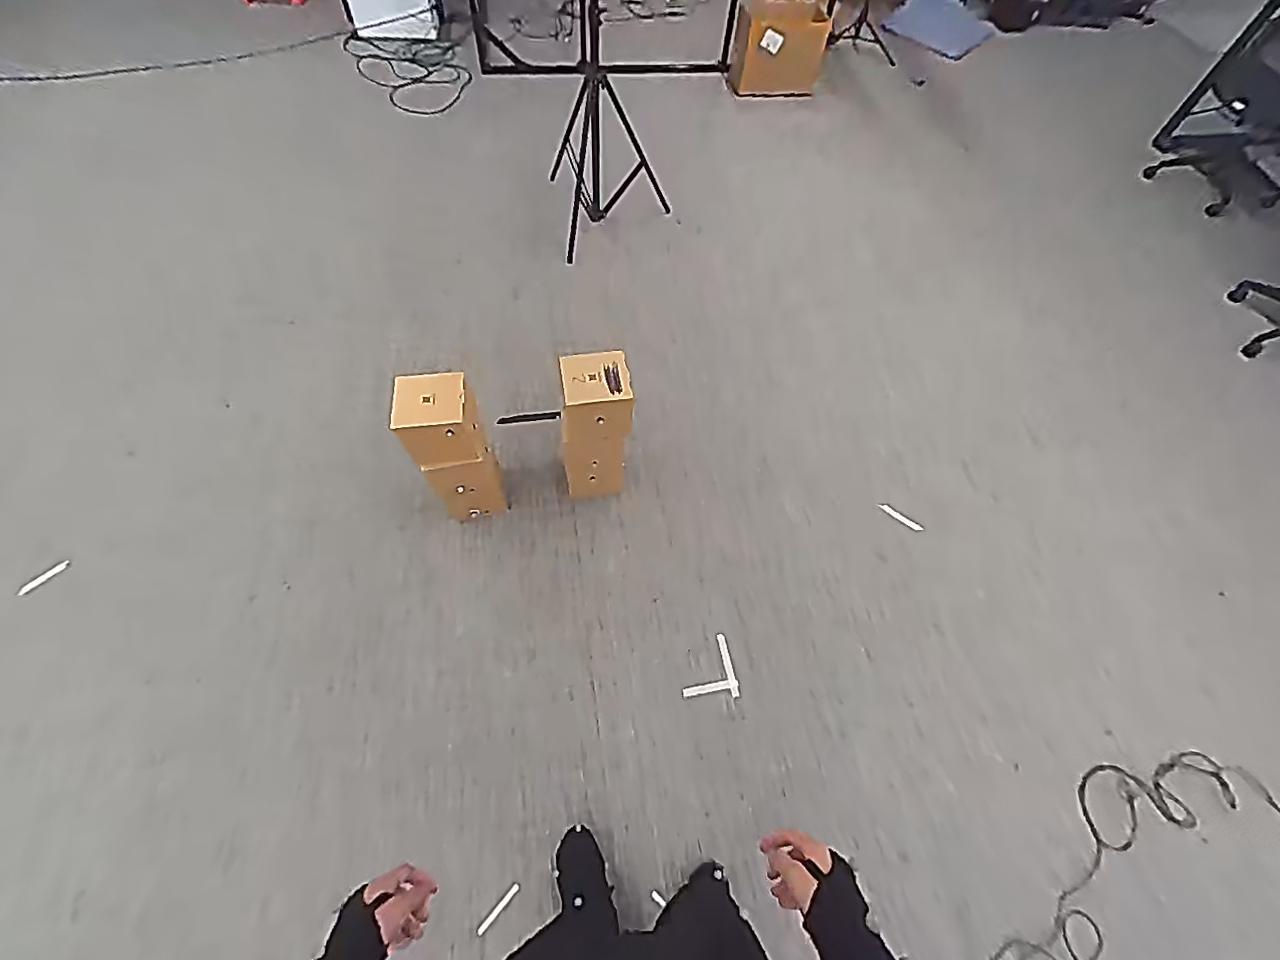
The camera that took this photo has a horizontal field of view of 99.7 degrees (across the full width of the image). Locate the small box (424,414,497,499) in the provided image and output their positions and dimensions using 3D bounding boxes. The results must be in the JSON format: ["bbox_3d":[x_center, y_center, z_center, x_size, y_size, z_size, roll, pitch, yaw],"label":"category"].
[{"bbox_3d":[-0.516,-0.067,1.557,0.168,0.176,0.179,-10,62,-8],"label":"small box"}]

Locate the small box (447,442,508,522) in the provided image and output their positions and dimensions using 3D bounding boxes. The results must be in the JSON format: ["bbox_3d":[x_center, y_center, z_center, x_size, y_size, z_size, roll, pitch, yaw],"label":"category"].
[{"bbox_3d":[-0.518,0.009,1.702,0.168,0.176,0.179,-11,62,-9],"label":"small box"}]

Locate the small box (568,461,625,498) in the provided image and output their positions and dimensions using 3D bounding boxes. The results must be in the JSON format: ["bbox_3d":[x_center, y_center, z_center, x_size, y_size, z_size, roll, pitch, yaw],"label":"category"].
[{"bbox_3d":[-0.145,-0.052,1.759,0.179,0.176,0.168,-5,61,-7],"label":"small box"}]

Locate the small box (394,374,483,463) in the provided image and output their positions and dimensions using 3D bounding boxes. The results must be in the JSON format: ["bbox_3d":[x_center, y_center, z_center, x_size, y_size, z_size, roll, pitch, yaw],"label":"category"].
[{"bbox_3d":[-0.522,-0.156,1.420,0.179,0.176,0.168,-5,61,-6],"label":"small box"}]

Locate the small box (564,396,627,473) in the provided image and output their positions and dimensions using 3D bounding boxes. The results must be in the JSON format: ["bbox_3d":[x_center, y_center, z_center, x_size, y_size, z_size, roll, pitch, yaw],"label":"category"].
[{"bbox_3d":[-0.136,-0.134,1.617,0.179,0.176,0.168,-3,60,-7],"label":"small box"}]
